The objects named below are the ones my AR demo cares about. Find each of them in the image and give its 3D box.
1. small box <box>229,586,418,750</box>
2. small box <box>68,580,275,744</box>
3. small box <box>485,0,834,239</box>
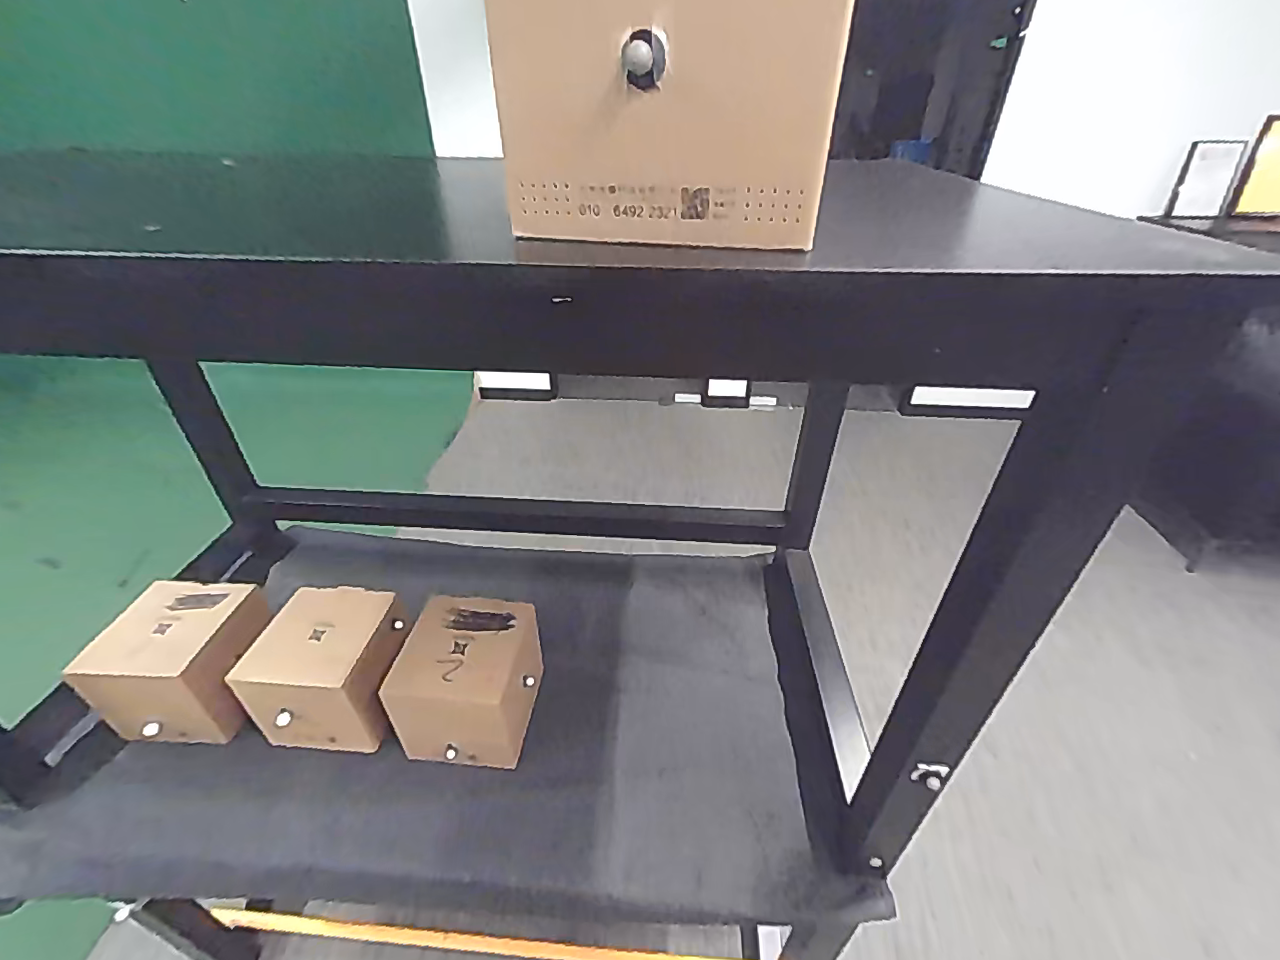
[{"bbox_3d":[-0.466,0.289,0.834,0.168,0.176,0.179,3,34,3],"label":"small box"},{"bbox_3d":[-0.693,0.279,0.841,0.168,0.176,0.179,1,34,2],"label":"small box"},{"bbox_3d":[0.023,-0.247,0.318,0.168,0.176,0.179,8,35,11],"label":"small box"}]
